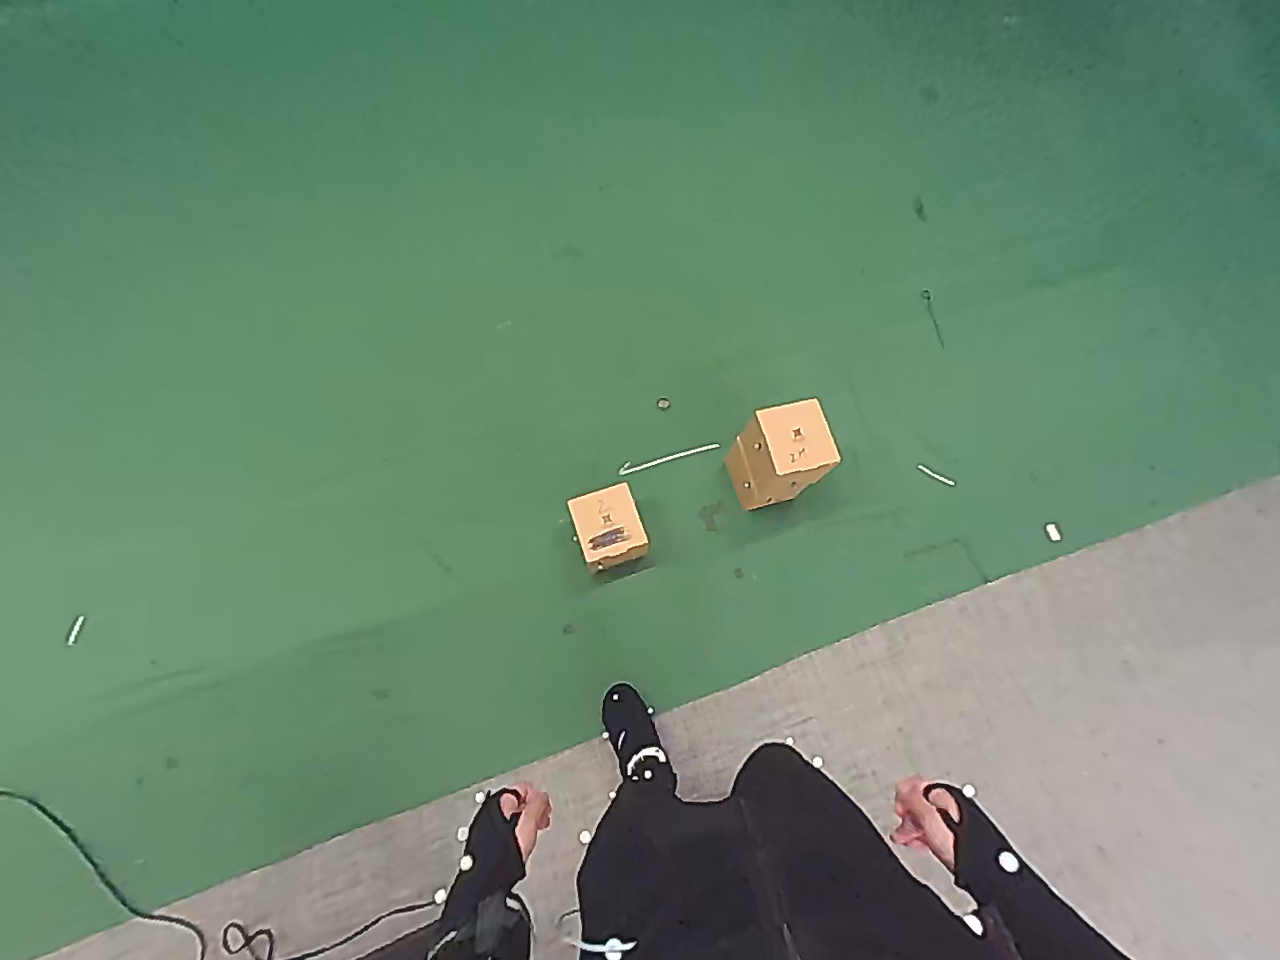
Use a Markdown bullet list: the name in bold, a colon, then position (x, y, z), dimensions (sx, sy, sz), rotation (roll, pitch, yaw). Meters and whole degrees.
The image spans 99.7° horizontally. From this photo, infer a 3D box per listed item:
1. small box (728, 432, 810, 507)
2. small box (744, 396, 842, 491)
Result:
- **small box**: position (0.366, -0.041, 1.538), dimensions (0.168, 0.176, 0.179), rotation (-14, 74, -8)
- **small box**: position (0.381, -0.088, 1.381), dimensions (0.168, 0.176, 0.179), rotation (-12, 74, -8)
